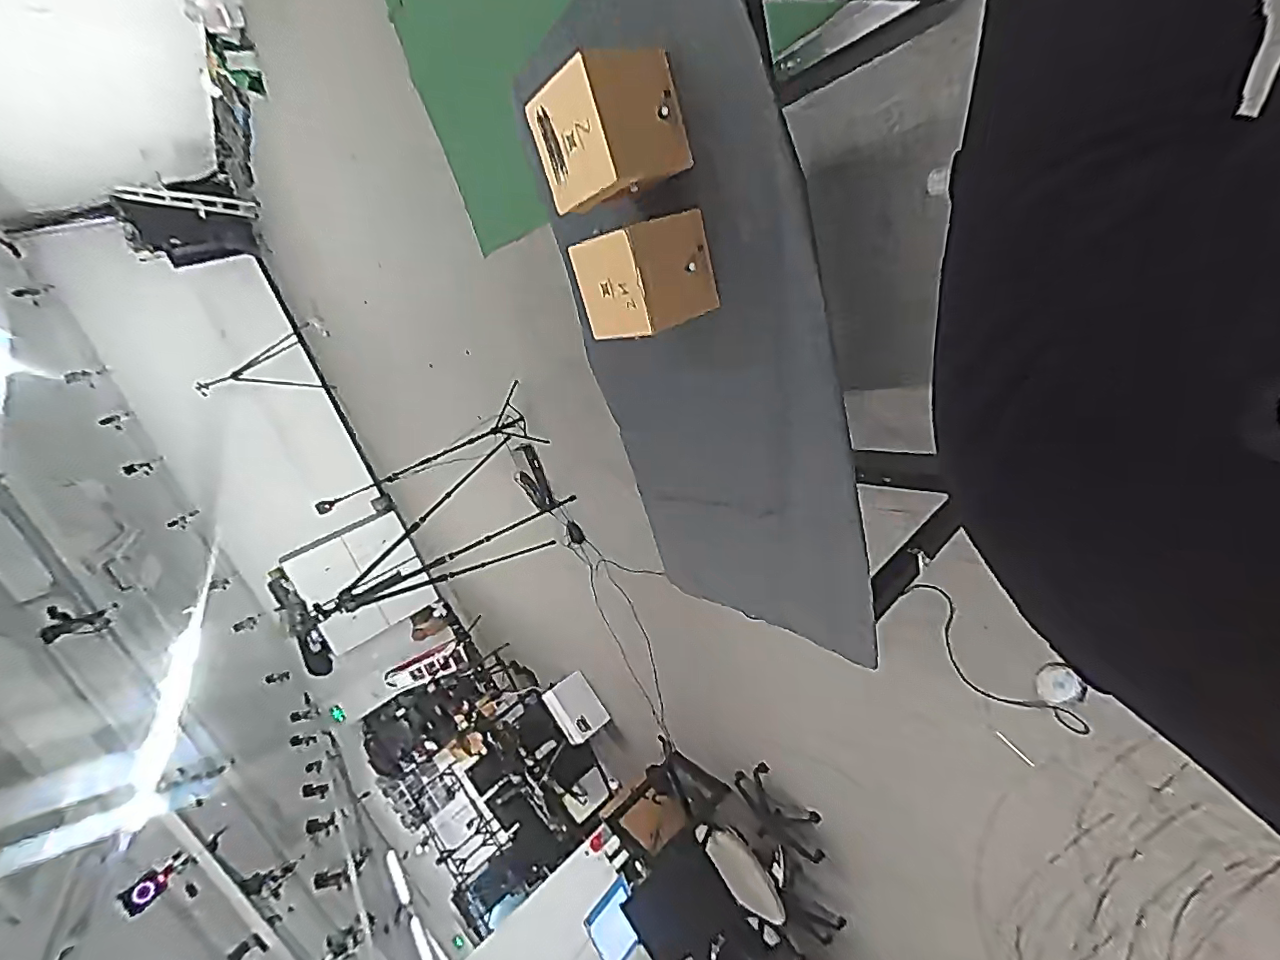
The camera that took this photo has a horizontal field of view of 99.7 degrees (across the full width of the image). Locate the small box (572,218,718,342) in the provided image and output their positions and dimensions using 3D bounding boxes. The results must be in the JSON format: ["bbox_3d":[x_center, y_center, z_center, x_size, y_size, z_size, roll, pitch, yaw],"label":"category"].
[{"bbox_3d":[0.011,-0.352,0.963,0.179,0.176,0.168,13,126,50],"label":"small box"}]
